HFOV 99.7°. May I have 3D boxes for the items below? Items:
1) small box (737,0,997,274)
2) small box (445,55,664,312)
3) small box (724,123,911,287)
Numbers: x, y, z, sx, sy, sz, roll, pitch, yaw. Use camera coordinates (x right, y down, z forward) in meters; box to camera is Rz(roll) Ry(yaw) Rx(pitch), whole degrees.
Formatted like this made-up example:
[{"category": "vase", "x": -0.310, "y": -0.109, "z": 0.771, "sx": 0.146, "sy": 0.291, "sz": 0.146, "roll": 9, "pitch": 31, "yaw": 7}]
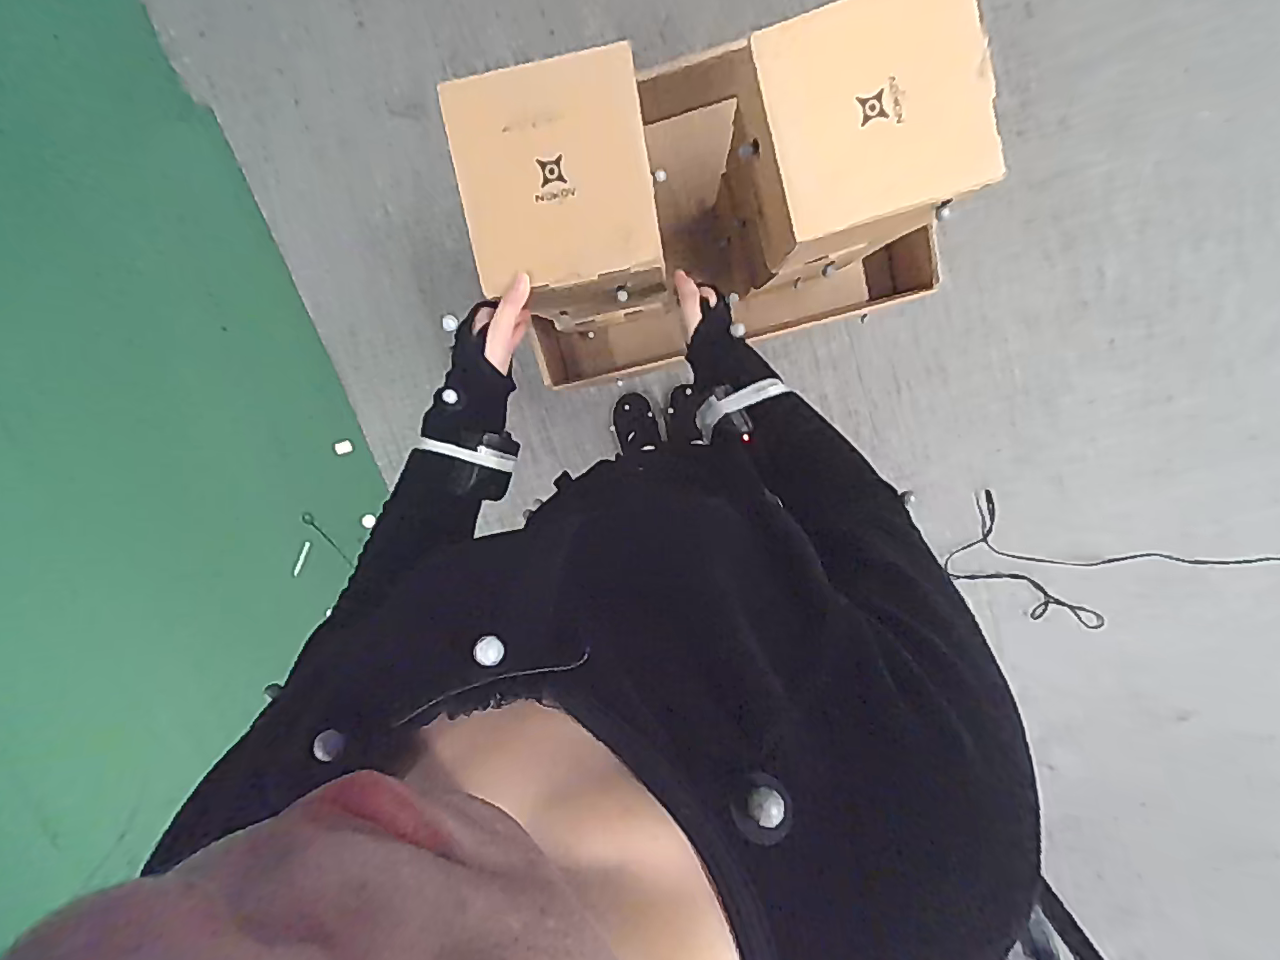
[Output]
[{"category": "small box", "x": 0.197, "y": -0.314, "z": 0.522, "sx": 0.179, "sy": 0.176, "sz": 0.168, "roll": -16, "pitch": 101, "yaw": 7}, {"category": "small box", "x": -0.068, "y": -0.271, "z": 0.543, "sx": 0.168, "sy": 0.176, "sz": 0.179, "roll": -9, "pitch": 101, "yaw": 4}, {"category": "small box", "x": 0.211, "y": -0.353, "z": 0.680, "sx": 0.168, "sy": 0.176, "sz": 0.179, "roll": -16, "pitch": 102, "yaw": 6}]
